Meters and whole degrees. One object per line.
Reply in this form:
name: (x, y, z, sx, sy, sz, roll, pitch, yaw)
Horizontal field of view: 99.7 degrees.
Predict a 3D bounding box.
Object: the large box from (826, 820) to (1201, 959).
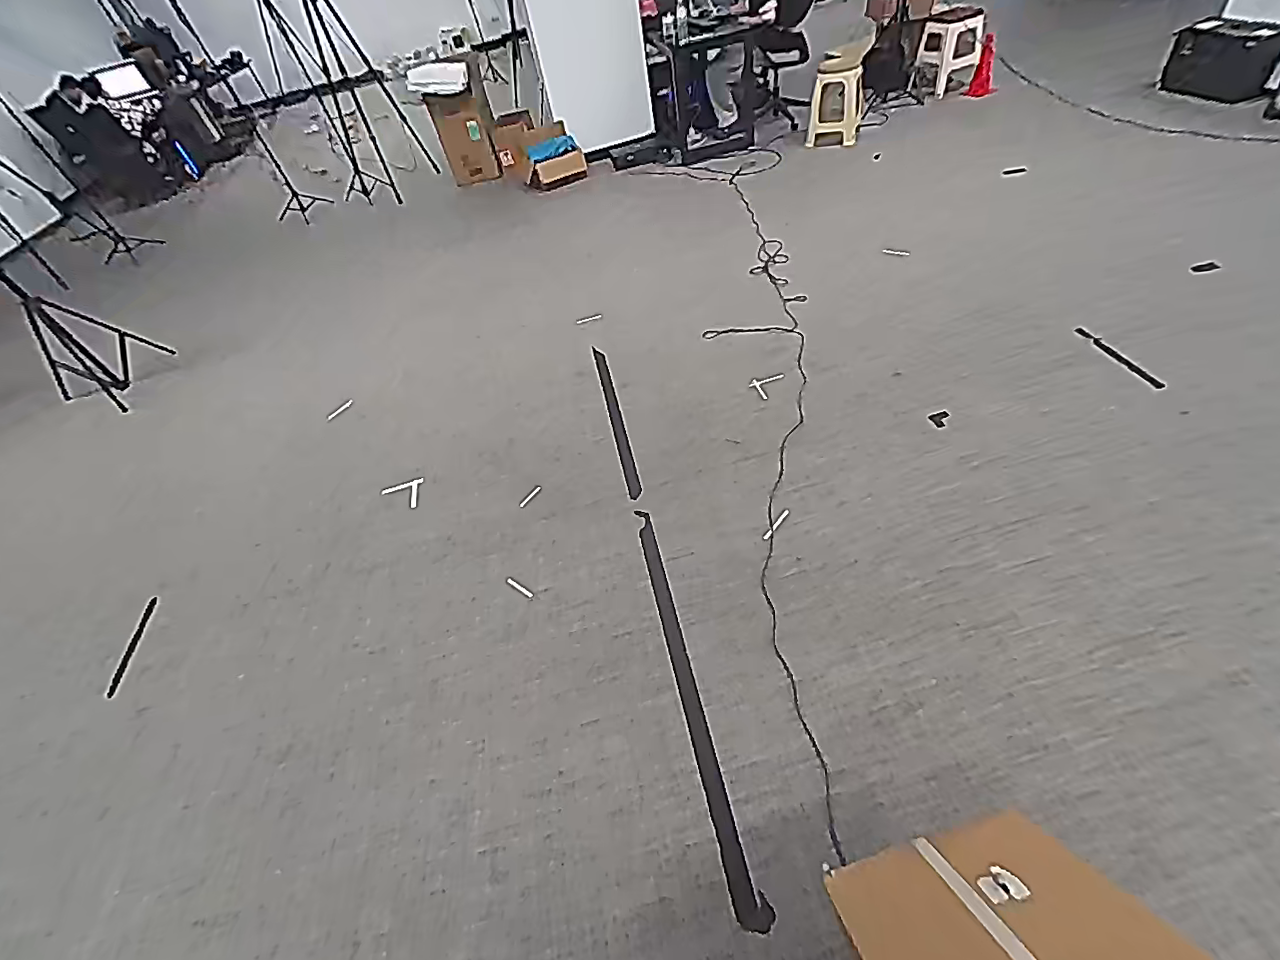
large box: (0.473, 0.685, 0.609, 0.320, 0.408, 0.320, -18, 83, -2)
